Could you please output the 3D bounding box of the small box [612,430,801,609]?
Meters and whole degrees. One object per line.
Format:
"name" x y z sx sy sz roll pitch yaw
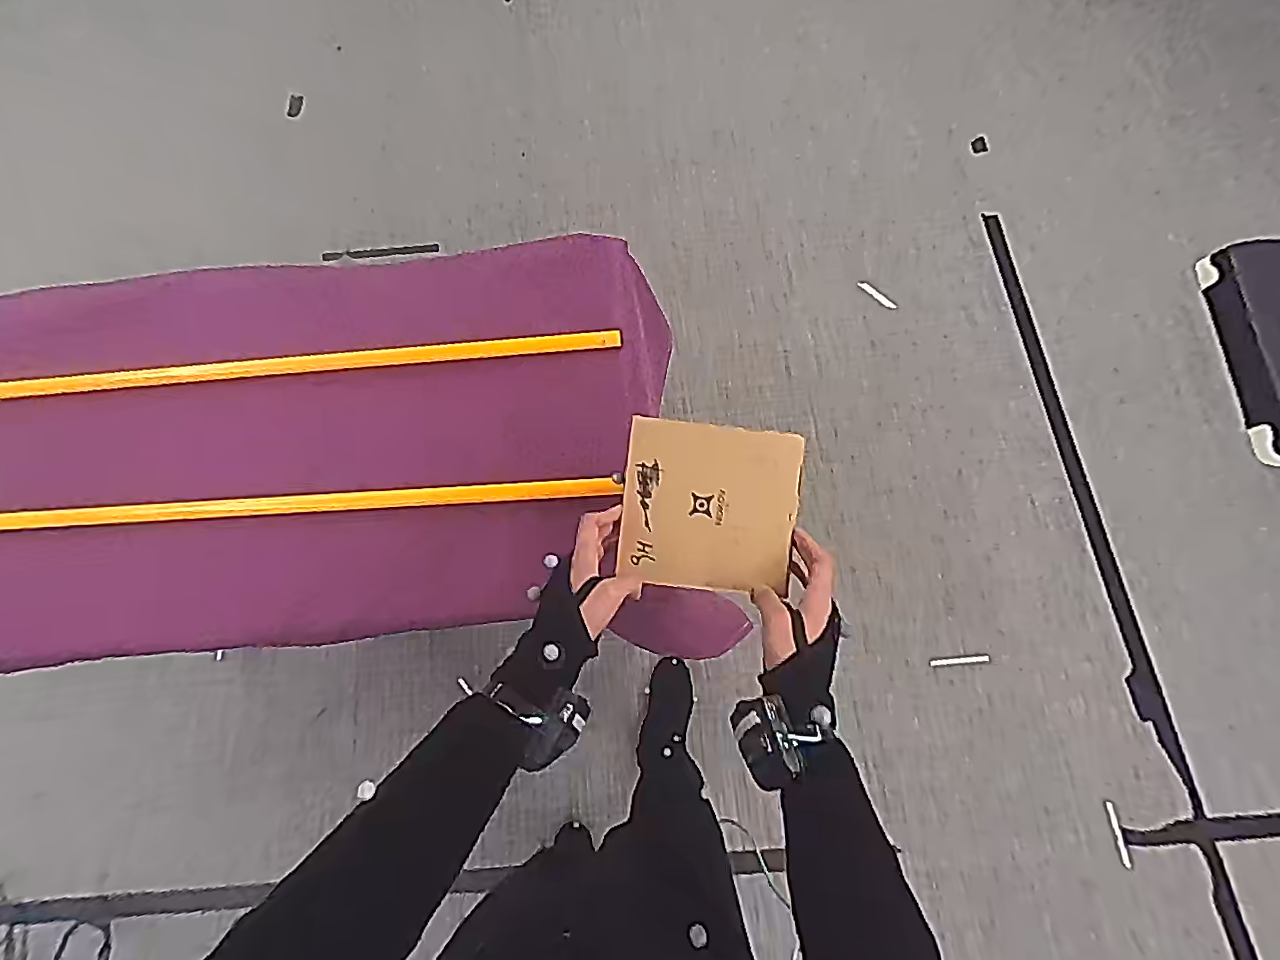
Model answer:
"small box" 0.068 0.039 0.626 0.179 0.176 0.168 7 89 1
